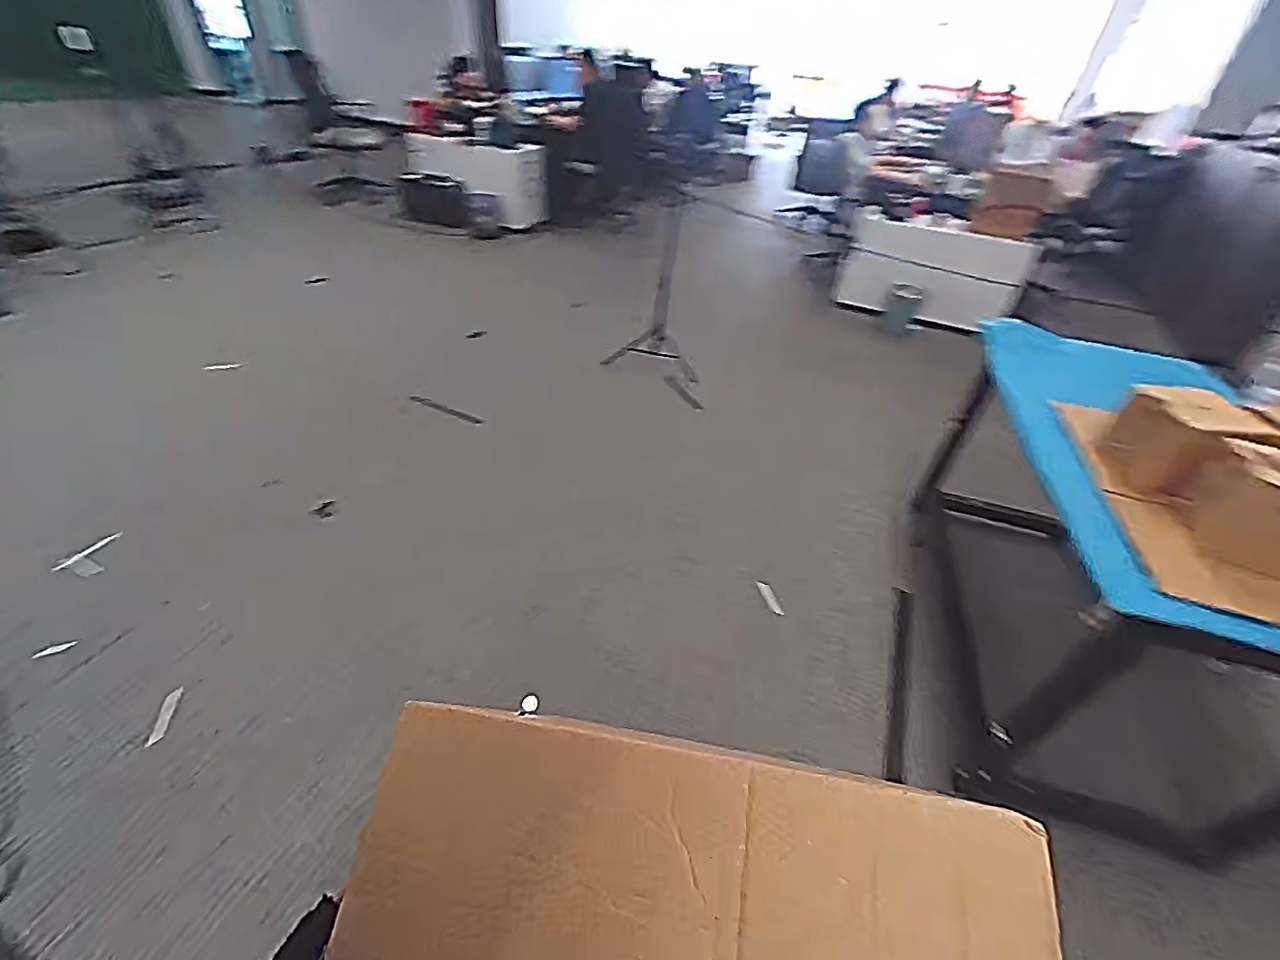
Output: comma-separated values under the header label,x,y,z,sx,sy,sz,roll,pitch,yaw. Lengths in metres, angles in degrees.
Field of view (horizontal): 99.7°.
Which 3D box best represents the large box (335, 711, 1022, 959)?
label,x,y,z,sx,sy,sz,roll,pitch,yaw
large box,0.020,0.381,0.431,0.408,0.320,0.320,5,67,10
